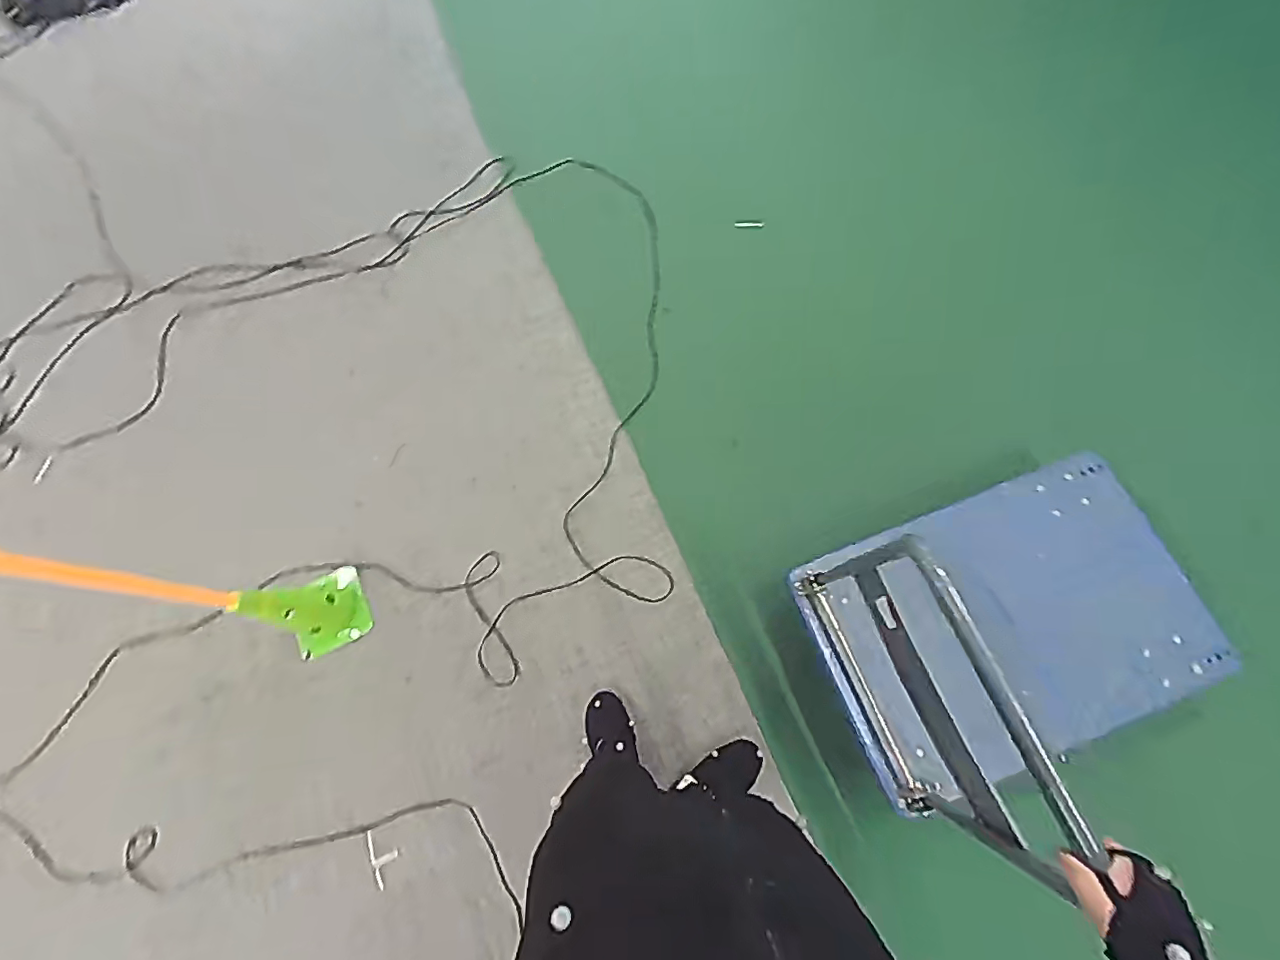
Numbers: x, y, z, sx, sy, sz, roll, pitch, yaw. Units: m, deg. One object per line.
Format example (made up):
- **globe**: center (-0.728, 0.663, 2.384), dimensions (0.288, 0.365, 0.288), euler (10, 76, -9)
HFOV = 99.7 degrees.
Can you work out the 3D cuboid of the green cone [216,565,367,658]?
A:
- **green cone**: center (-0.866, 0.301, 1.313), dimensions (0.200, 0.368, 0.202), euler (-26, 72, -6)
